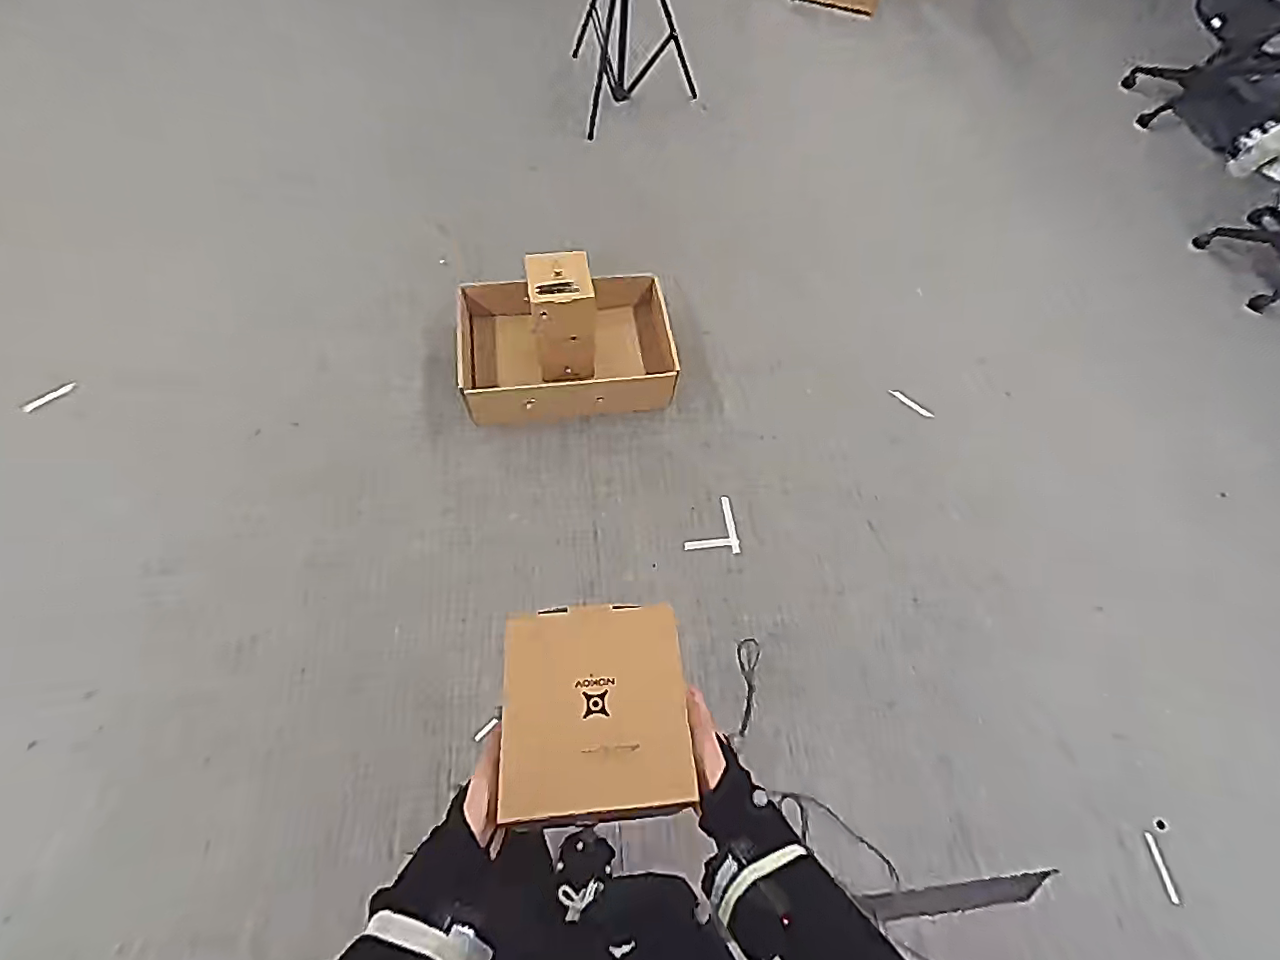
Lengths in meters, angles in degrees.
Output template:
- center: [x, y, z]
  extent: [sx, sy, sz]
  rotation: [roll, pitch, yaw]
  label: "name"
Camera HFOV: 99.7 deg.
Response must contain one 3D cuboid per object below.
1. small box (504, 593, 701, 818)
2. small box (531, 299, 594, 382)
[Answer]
- center: [-0.043, 0.233, 0.556]
  extent: [0.168, 0.176, 0.179]
  rotation: [-2, 55, -7]
  label: "small box"
- center: [-0.234, -0.420, 1.635]
  extent: [0.168, 0.176, 0.179]
  rotation: [-8, 65, -9]
  label: "small box"
